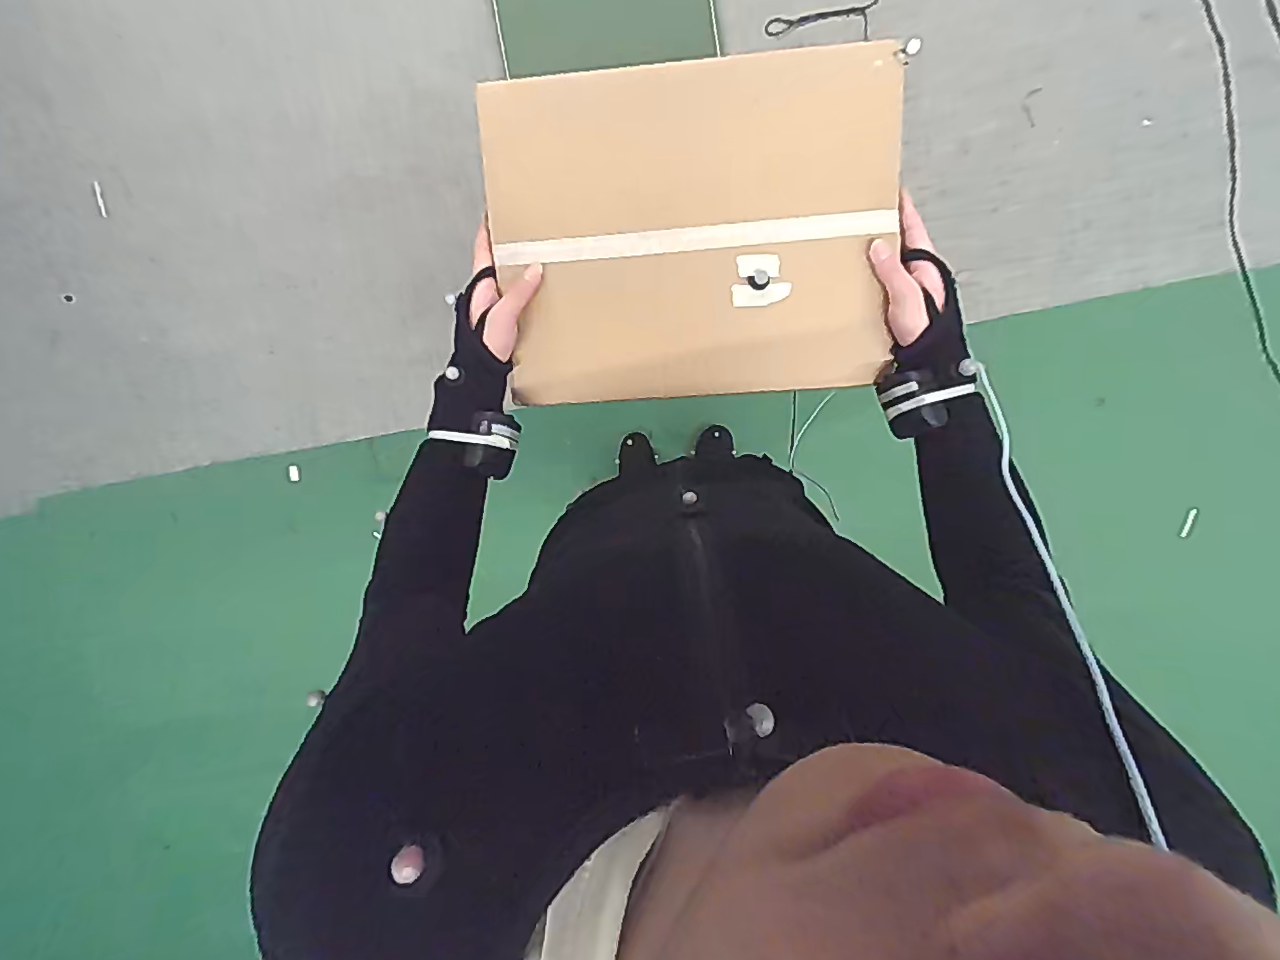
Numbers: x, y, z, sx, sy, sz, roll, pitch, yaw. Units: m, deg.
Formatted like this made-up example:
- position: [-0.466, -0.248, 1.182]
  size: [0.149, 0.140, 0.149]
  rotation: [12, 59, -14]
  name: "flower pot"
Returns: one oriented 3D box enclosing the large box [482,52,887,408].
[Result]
- position: [0.056, -0.275, 0.703]
  size: [0.408, 0.320, 0.320]
  rotation: [-3, 103, 4]
  name: "large box"
